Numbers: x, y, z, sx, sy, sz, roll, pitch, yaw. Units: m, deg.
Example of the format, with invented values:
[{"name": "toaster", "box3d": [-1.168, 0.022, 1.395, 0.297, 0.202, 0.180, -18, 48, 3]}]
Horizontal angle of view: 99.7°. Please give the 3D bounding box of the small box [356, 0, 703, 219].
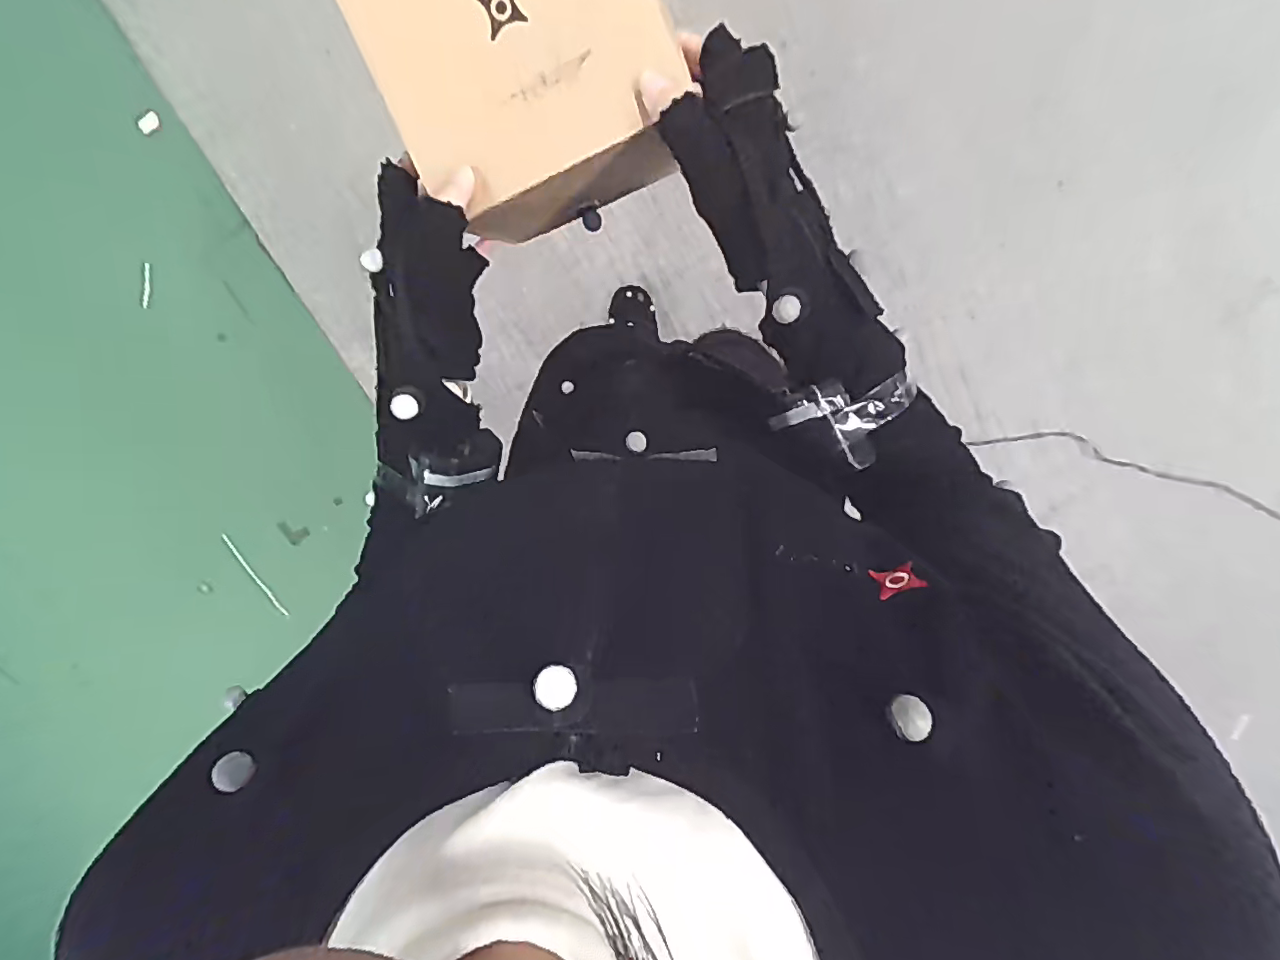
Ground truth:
[{"name": "small box", "box3d": [-0.065, -0.298, 0.360, 0.168, 0.176, 0.179, -19, 108, 13]}]
